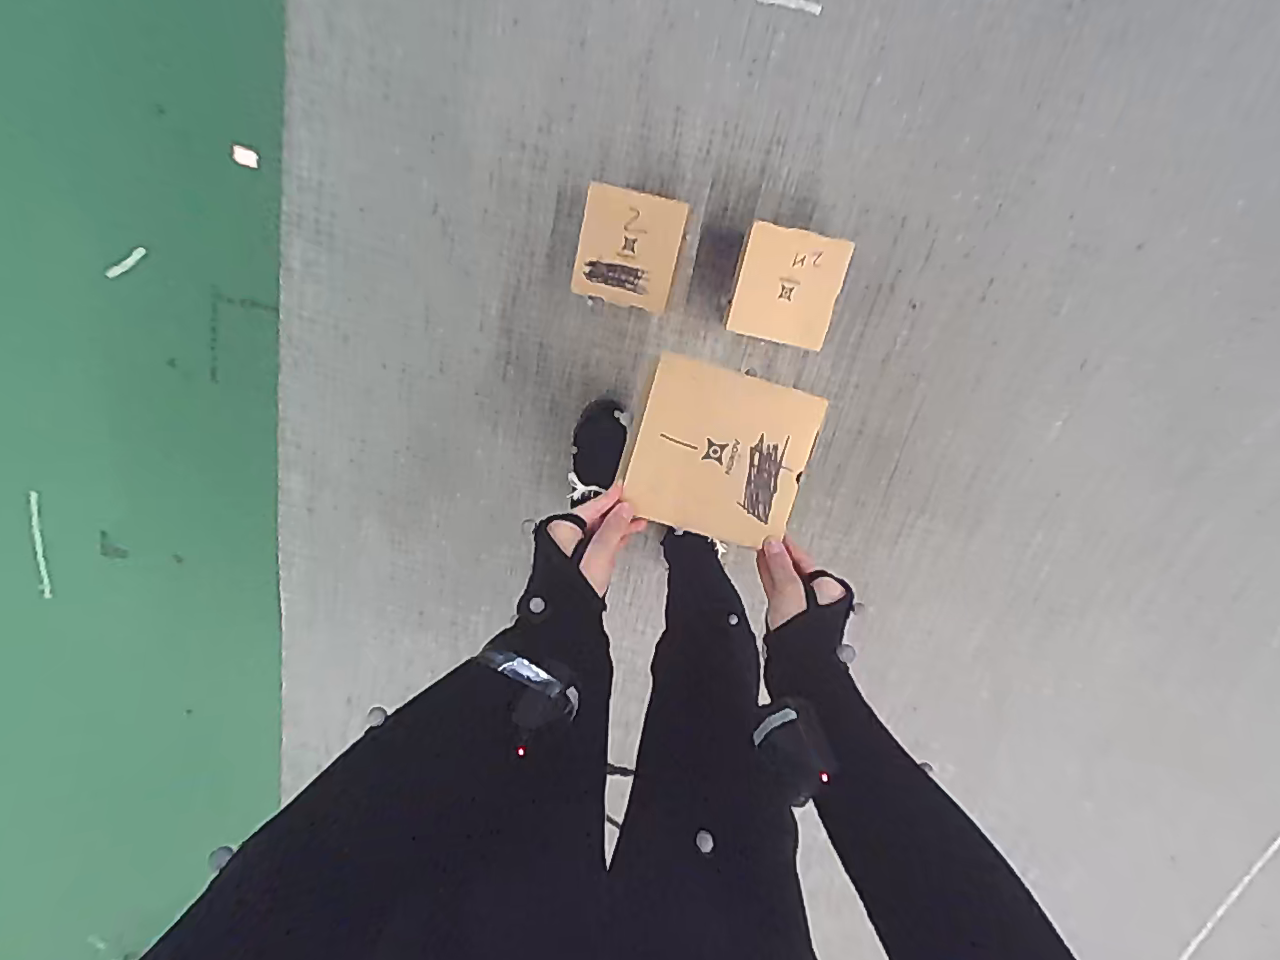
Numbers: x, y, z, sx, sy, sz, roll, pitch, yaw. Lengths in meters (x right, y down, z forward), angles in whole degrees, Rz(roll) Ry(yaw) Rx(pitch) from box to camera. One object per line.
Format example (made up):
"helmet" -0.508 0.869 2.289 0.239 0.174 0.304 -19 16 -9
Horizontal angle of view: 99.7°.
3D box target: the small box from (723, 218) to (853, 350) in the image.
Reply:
"small box" 0.247 -0.341 0.954 0.168 0.176 0.179 14 109 1

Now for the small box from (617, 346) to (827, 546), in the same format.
"small box" 0.079 -0.042 0.622 0.179 0.176 0.168 16 96 -5
